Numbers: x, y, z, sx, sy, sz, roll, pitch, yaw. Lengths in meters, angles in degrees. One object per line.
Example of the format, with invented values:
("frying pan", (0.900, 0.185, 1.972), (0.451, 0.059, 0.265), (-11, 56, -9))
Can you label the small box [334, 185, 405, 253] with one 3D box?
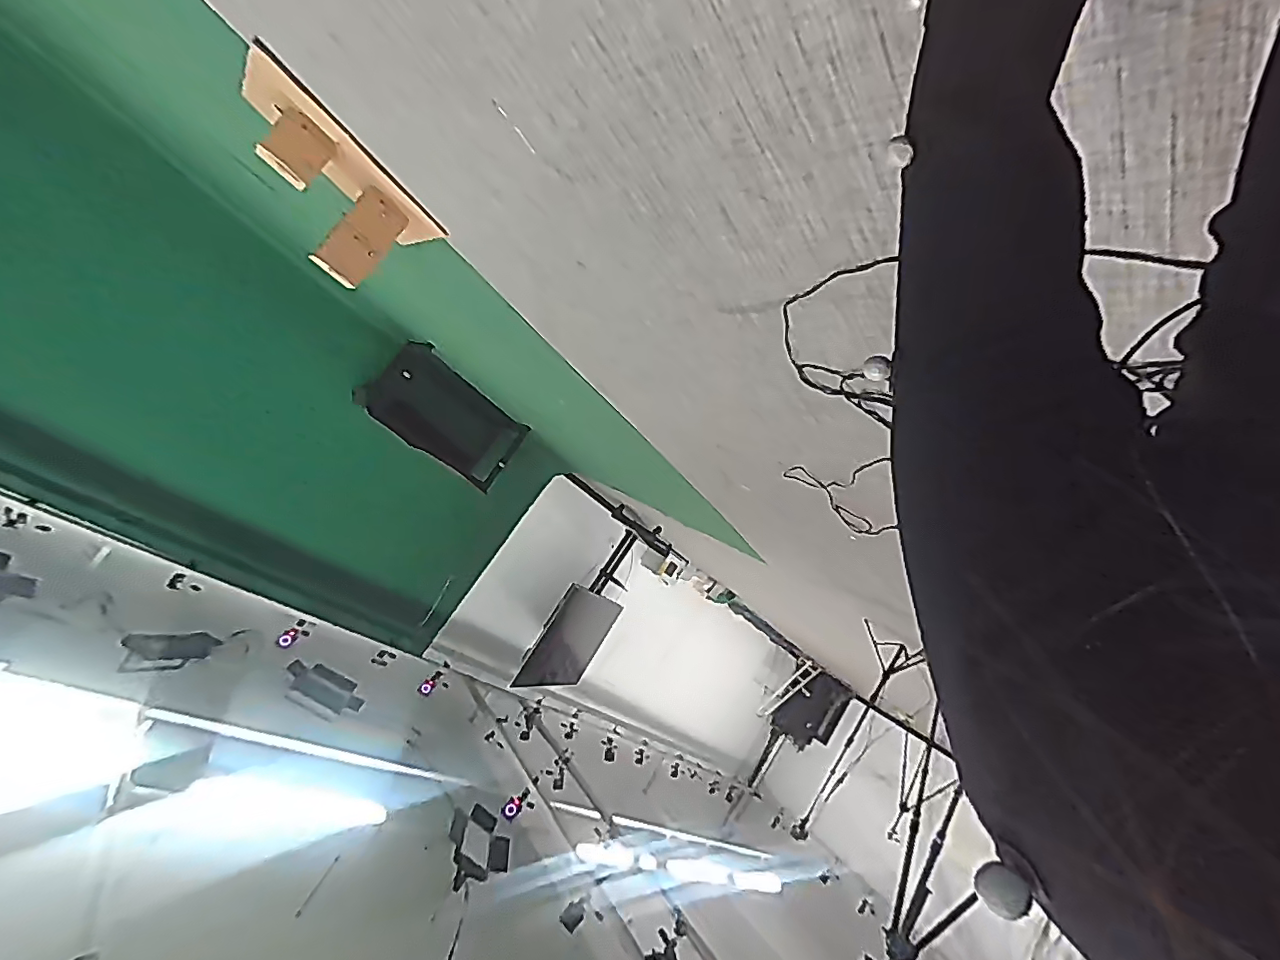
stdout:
("small box", (-1.032, -0.990, 2.066), (0.179, 0.176, 0.168), (23, 167, 49))

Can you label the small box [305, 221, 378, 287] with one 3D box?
("small box", (-1.123, -0.855, 2.043), (0.179, 0.176, 0.168), (25, 168, 48))
